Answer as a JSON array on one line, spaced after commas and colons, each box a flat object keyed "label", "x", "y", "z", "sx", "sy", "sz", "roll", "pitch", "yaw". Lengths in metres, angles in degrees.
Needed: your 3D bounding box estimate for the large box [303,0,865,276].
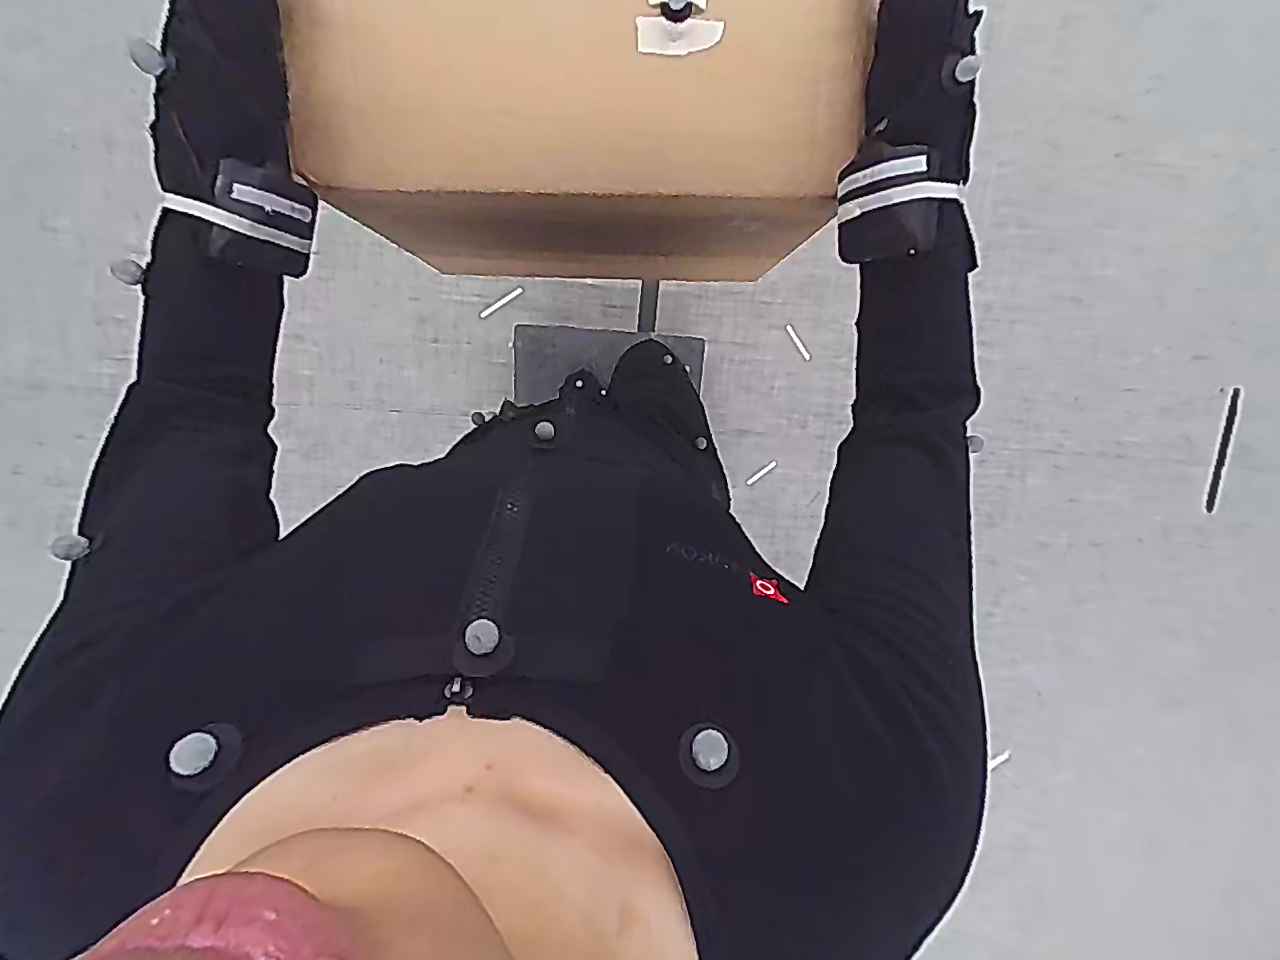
[{"label": "large box", "x": -0.042, "y": -0.391, "z": 0.523, "sx": 0.408, "sy": 0.320, "sz": 0.320, "roll": 0, "pitch": 100, "yaw": -2}]
